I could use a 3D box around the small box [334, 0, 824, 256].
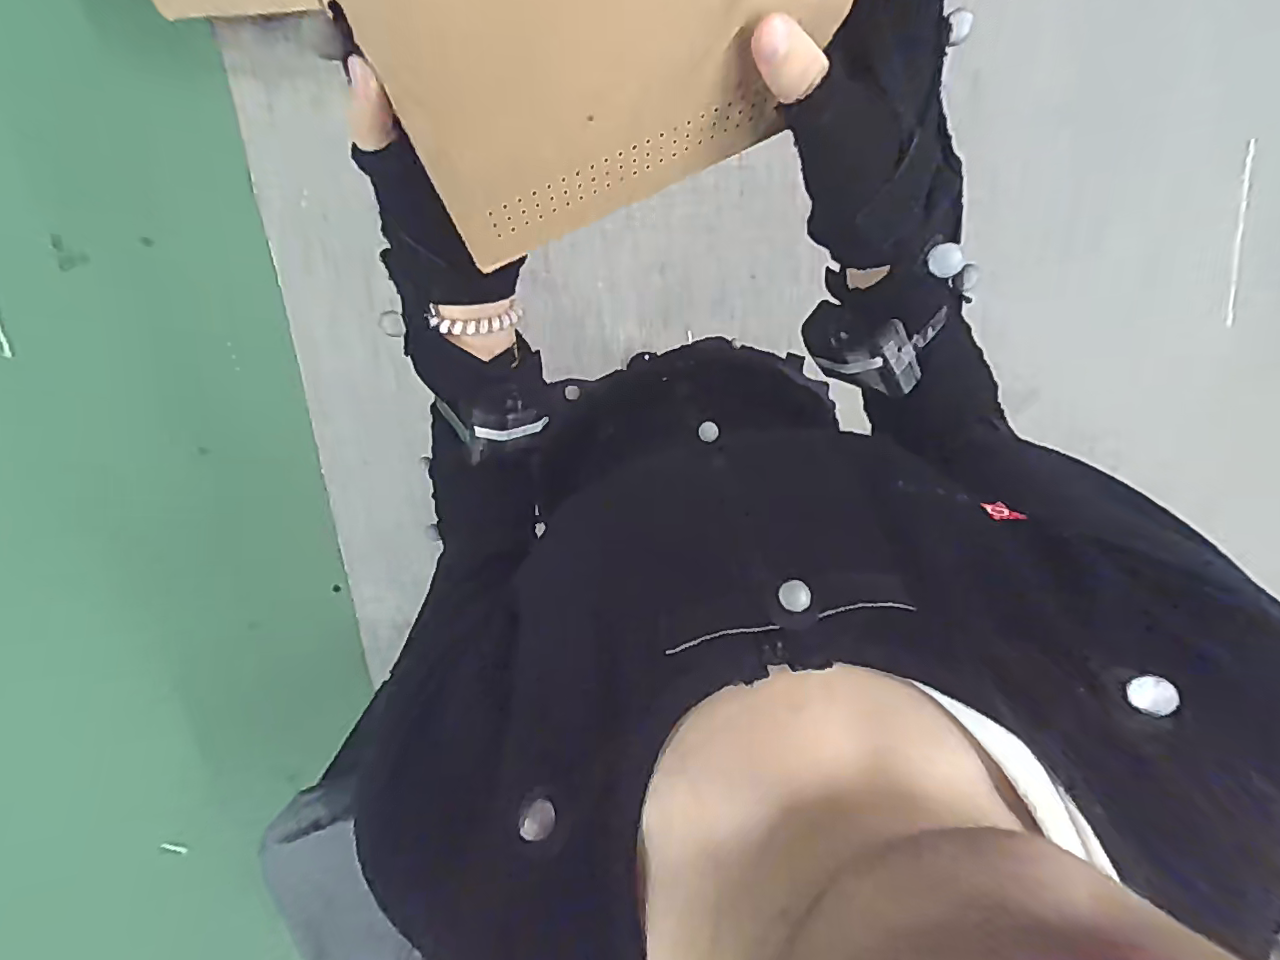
[{"bbox_3d":[-0.035,-0.222,0.192,0.179,0.176,0.168,-28,78,-5],"label":"small box"}]
